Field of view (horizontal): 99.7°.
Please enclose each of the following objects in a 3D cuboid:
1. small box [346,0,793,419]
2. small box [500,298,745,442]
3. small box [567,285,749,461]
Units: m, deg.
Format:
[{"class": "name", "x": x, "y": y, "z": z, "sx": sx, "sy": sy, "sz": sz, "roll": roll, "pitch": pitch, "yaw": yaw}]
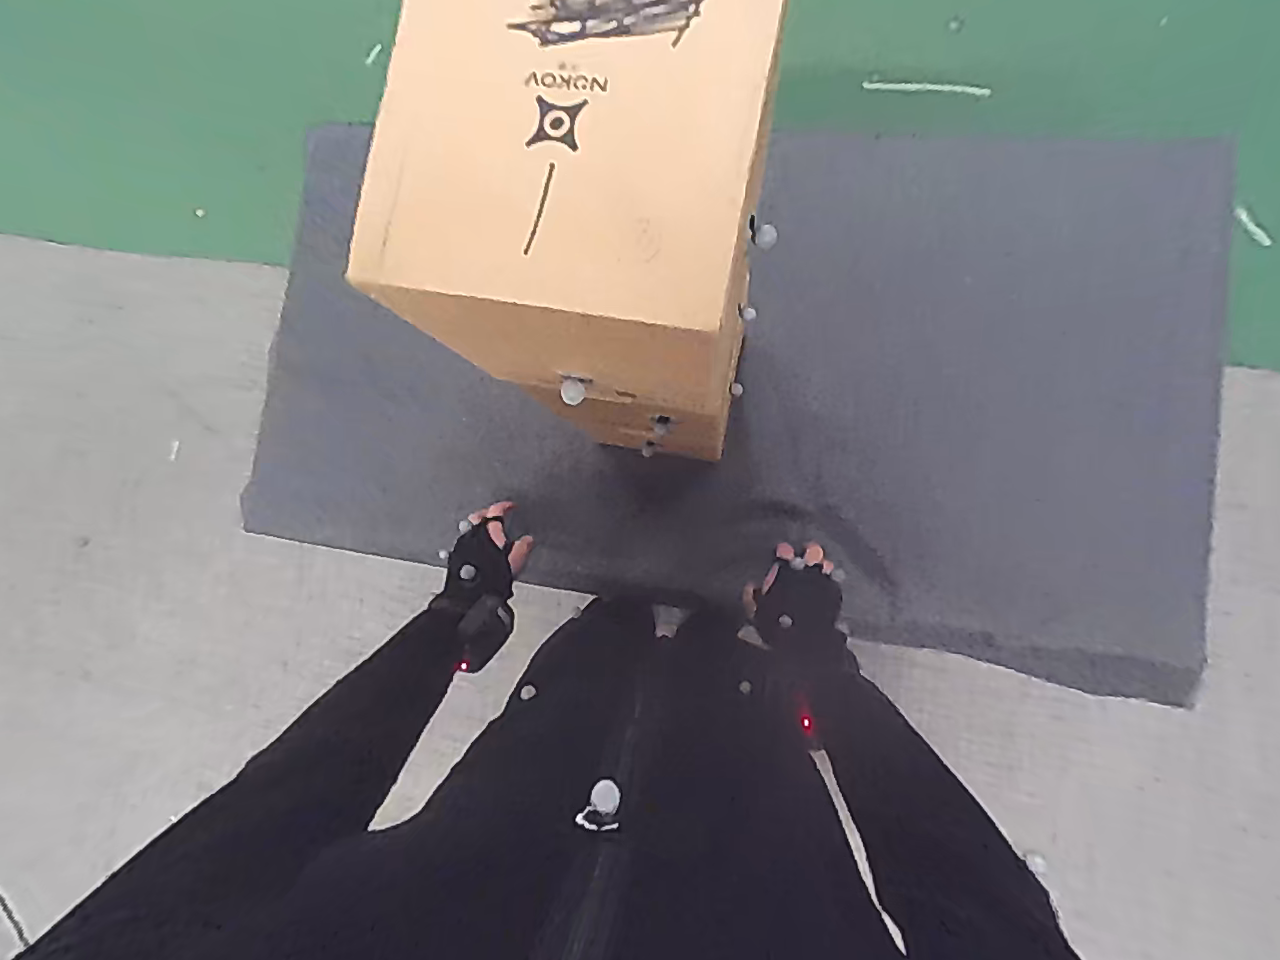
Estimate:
[{"class": "small box", "x": -0.021, "y": -0.144, "z": 0.303, "sx": 0.168, "sy": 0.176, "sz": 0.179, "roll": 10, "pitch": 88, "yaw": 9}, {"class": "small box", "x": 0.001, "y": -0.136, "z": 0.465, "sx": 0.168, "sy": 0.176, "sz": 0.179, "roll": 9, "pitch": 86, "yaw": 9}, {"class": "small box", "x": 0.030, "y": -0.122, "z": 0.625, "sx": 0.168, "sy": 0.176, "sz": 0.179, "roll": 9, "pitch": 88, "yaw": 10}]
